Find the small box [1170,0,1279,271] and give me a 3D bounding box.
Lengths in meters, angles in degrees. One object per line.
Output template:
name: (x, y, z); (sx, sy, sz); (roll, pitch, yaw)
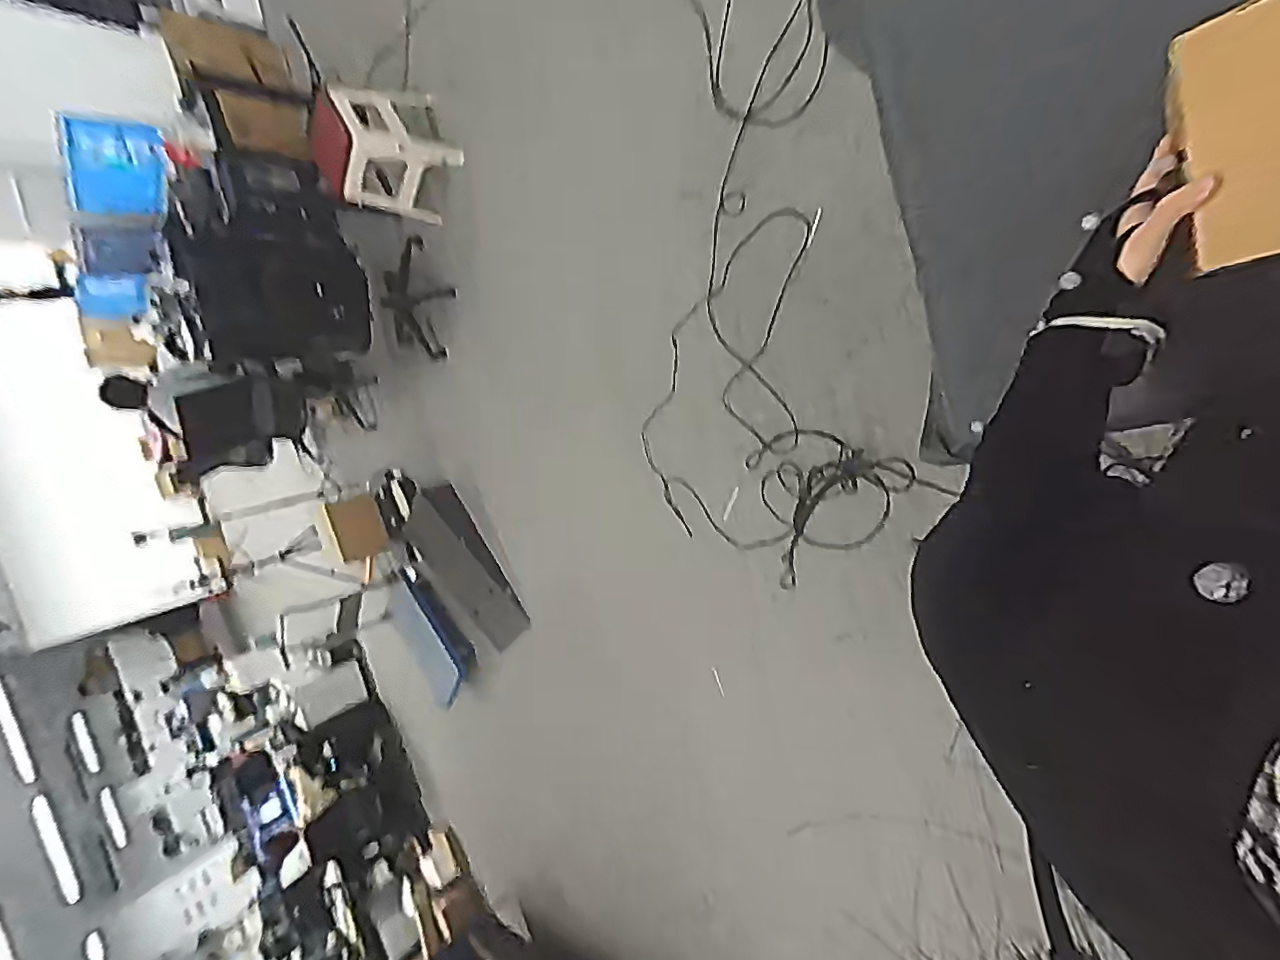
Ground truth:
small box: (0.531, -0.274, 0.414); (0.168, 0.176, 0.179); (-8, 97, 45)
